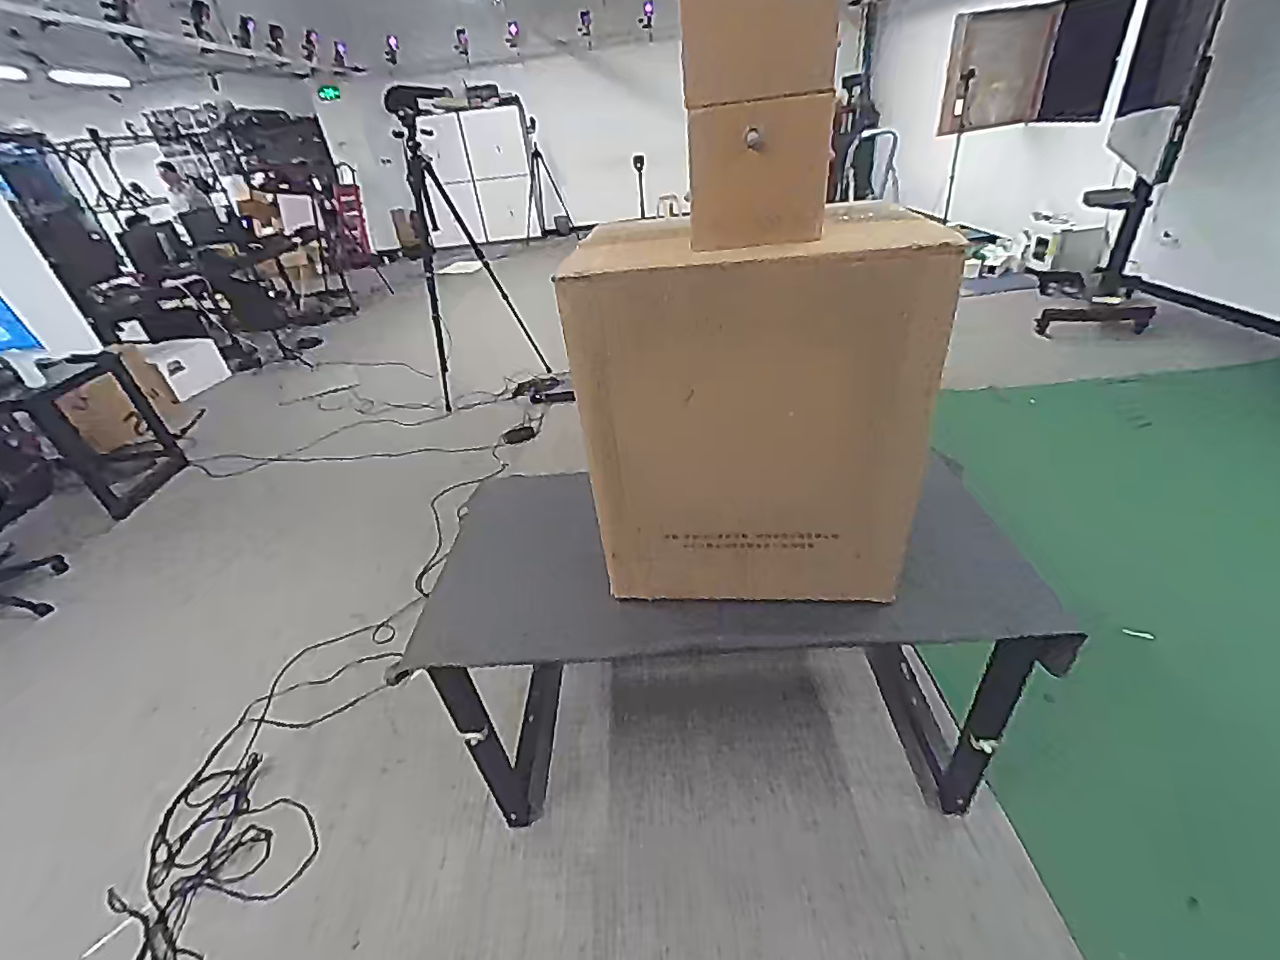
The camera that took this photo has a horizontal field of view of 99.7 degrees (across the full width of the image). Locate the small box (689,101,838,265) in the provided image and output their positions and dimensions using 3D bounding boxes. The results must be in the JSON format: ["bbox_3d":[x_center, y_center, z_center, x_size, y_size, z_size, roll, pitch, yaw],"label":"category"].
[{"bbox_3d":[0.162,-0.410,0.748,0.179,0.176,0.168,-2,36,9],"label":"small box"}]
